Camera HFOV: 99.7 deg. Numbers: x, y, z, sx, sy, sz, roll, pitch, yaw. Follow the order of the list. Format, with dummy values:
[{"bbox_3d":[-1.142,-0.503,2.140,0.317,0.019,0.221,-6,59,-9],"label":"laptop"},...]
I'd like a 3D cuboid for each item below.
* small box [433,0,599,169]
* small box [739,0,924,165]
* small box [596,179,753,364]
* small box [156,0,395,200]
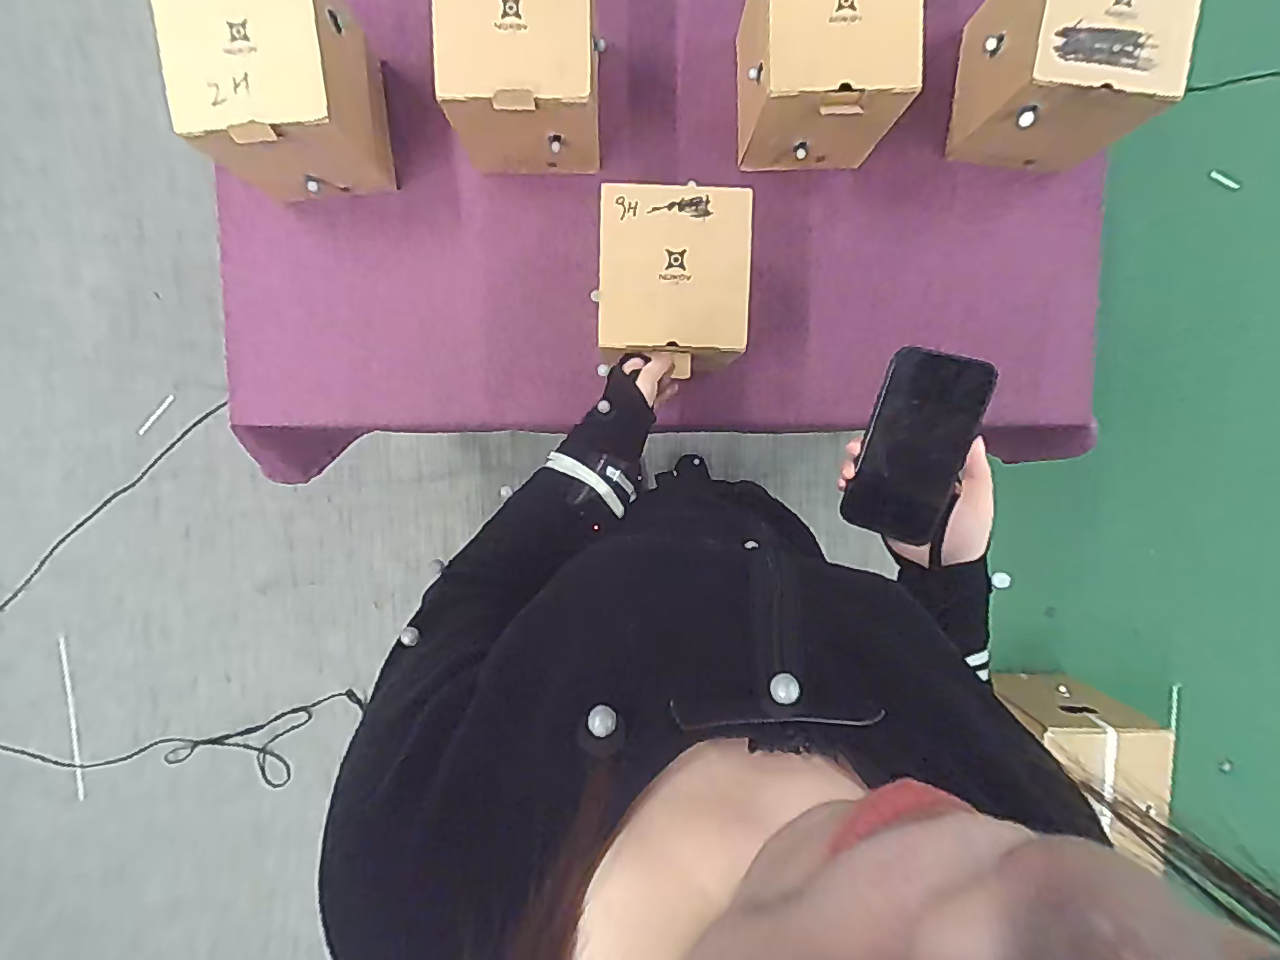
[{"bbox_3d":[-0.135,-0.496,0.643,0.168,0.176,0.179,0,95,-2],"label":"small box"},{"bbox_3d":[0.214,-0.508,0.645,0.168,0.176,0.179,-2,95,0],"label":"small box"},{"bbox_3d":[0.036,-0.239,0.664,0.168,0.176,0.179,1,95,-1],"label":"small box"},{"bbox_3d":[-0.415,-0.464,0.642,0.168,0.176,0.179,-5,95,0],"label":"small box"}]
